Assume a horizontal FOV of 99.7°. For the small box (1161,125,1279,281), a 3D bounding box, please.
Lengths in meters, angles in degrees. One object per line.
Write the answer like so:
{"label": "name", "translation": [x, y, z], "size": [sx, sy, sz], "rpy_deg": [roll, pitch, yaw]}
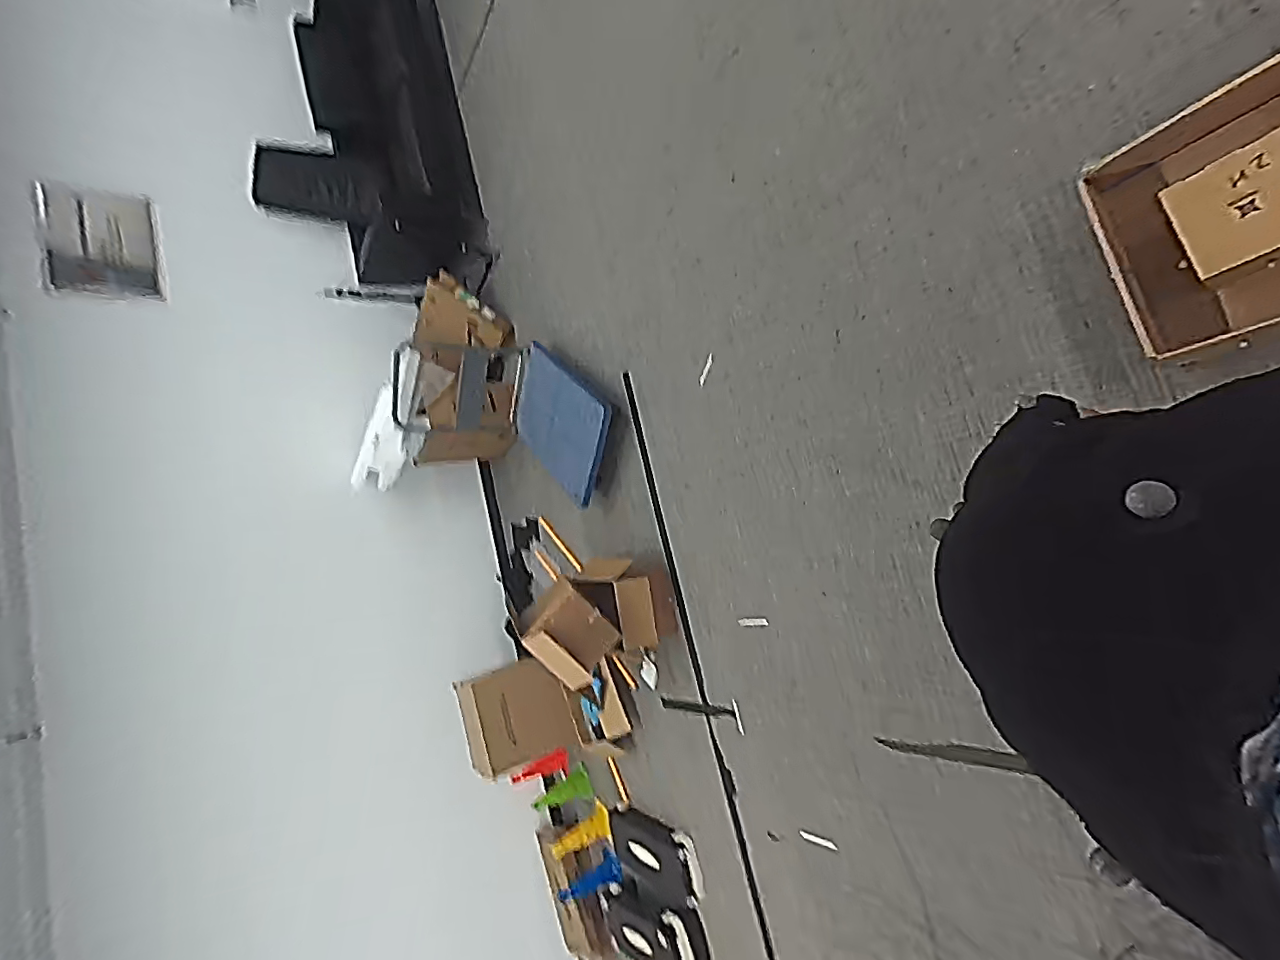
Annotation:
{"label": "small box", "translation": [1.029, -0.453, 0.905], "size": [0.168, 0.176, 0.179], "rpy_deg": [-28, 74, 51]}
